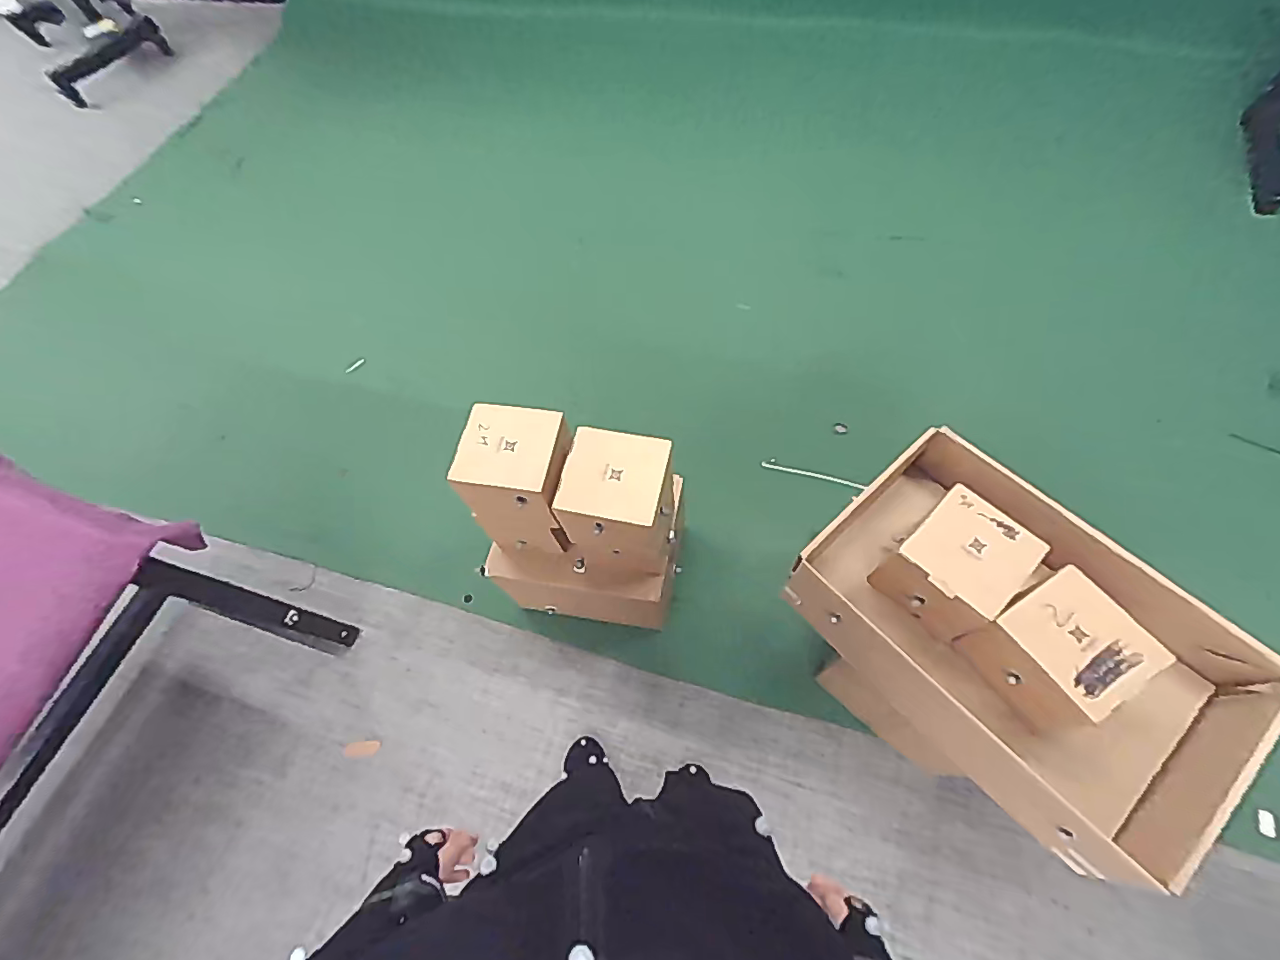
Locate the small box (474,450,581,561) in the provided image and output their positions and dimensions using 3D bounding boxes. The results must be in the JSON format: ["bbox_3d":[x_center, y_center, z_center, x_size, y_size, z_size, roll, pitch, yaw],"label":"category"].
[{"bbox_3d":[-0.234,0.058,1.186,0.168,0.176,0.179,8,64,9],"label":"small box"}]

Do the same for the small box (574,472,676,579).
[{"bbox_3d":[-0.023,0.100,1.143,0.179,0.176,0.168,7,64,9],"label":"small box"}]
